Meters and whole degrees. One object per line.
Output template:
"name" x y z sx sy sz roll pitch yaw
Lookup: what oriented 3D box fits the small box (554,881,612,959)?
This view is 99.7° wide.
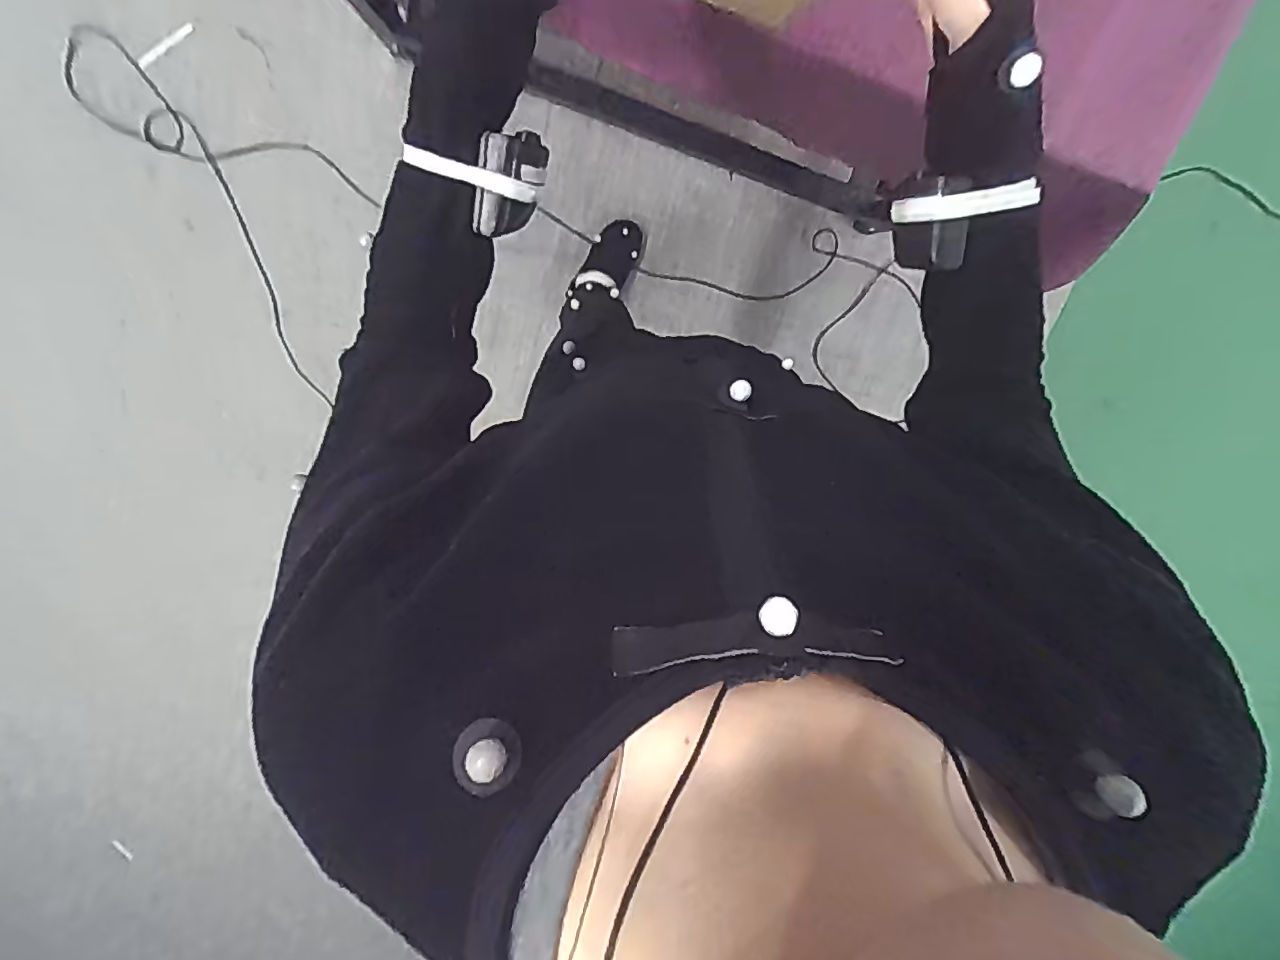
"small box" -0.207 1.606 1.970 0.179 0.176 0.168 13 107 -10
